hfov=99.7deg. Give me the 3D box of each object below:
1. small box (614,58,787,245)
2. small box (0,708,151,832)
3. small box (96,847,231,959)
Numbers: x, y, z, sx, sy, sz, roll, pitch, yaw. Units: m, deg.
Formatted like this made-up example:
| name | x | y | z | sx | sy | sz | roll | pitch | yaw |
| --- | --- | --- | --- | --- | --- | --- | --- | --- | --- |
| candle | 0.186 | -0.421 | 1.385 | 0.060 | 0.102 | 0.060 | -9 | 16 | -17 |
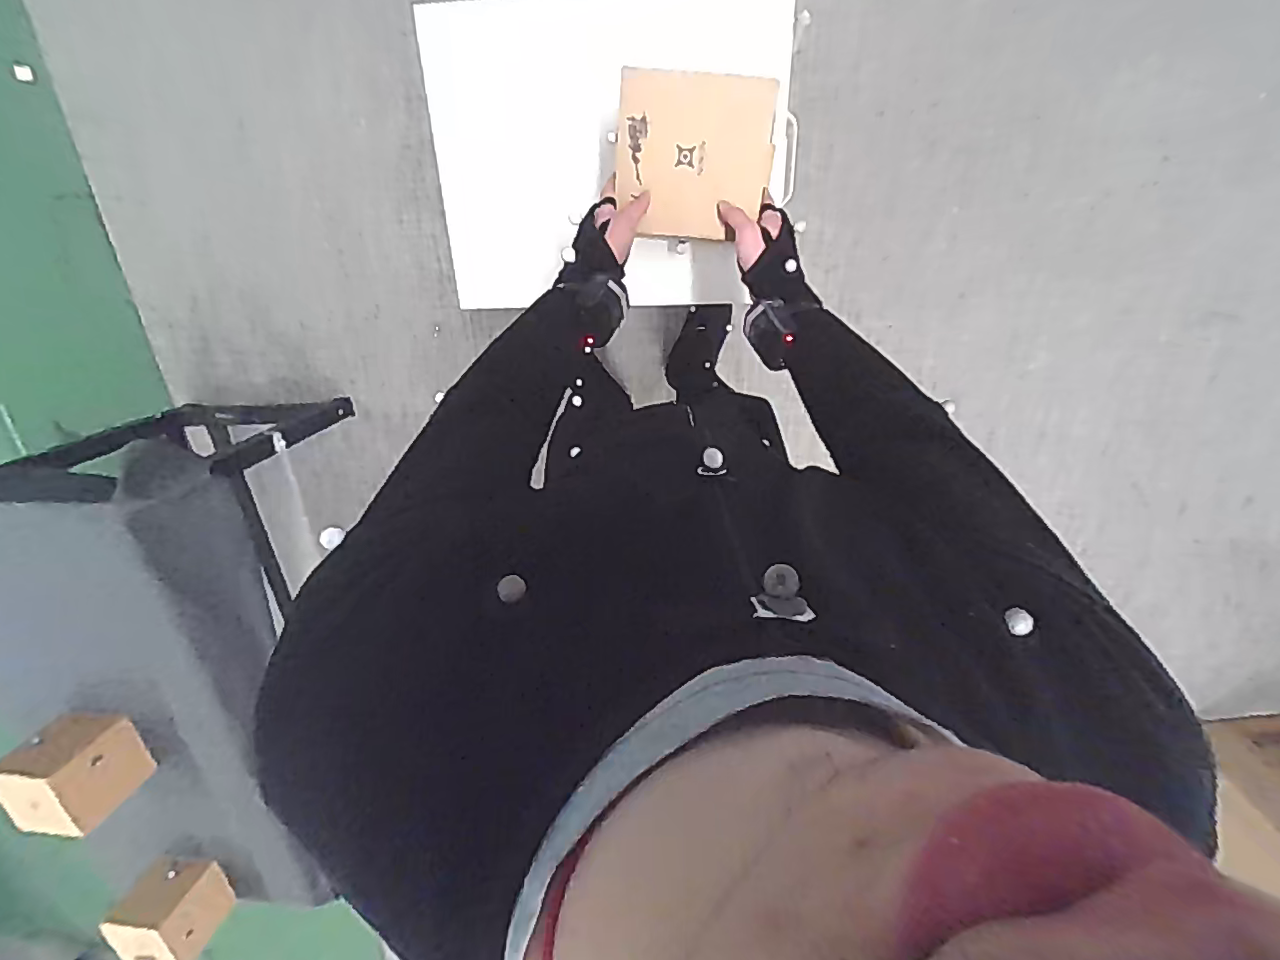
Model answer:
| name | x | y | z | sx | sy | sz | roll | pitch | yaw |
| --- | --- | --- | --- | --- | --- | --- | --- | --- | --- |
| small box | 0.062 | -0.392 | 0.674 | 0.179 | 0.176 | 0.168 | 5 | 113 | -2 |
| small box | -1.234 | 0.621 | 1.169 | 0.168 | 0.176 | 0.179 | 0 | 116 | 8 |
| small box | -1.199 | 1.079 | 1.378 | 0.168 | 0.176 | 0.179 | 0 | 114 | 6 |
